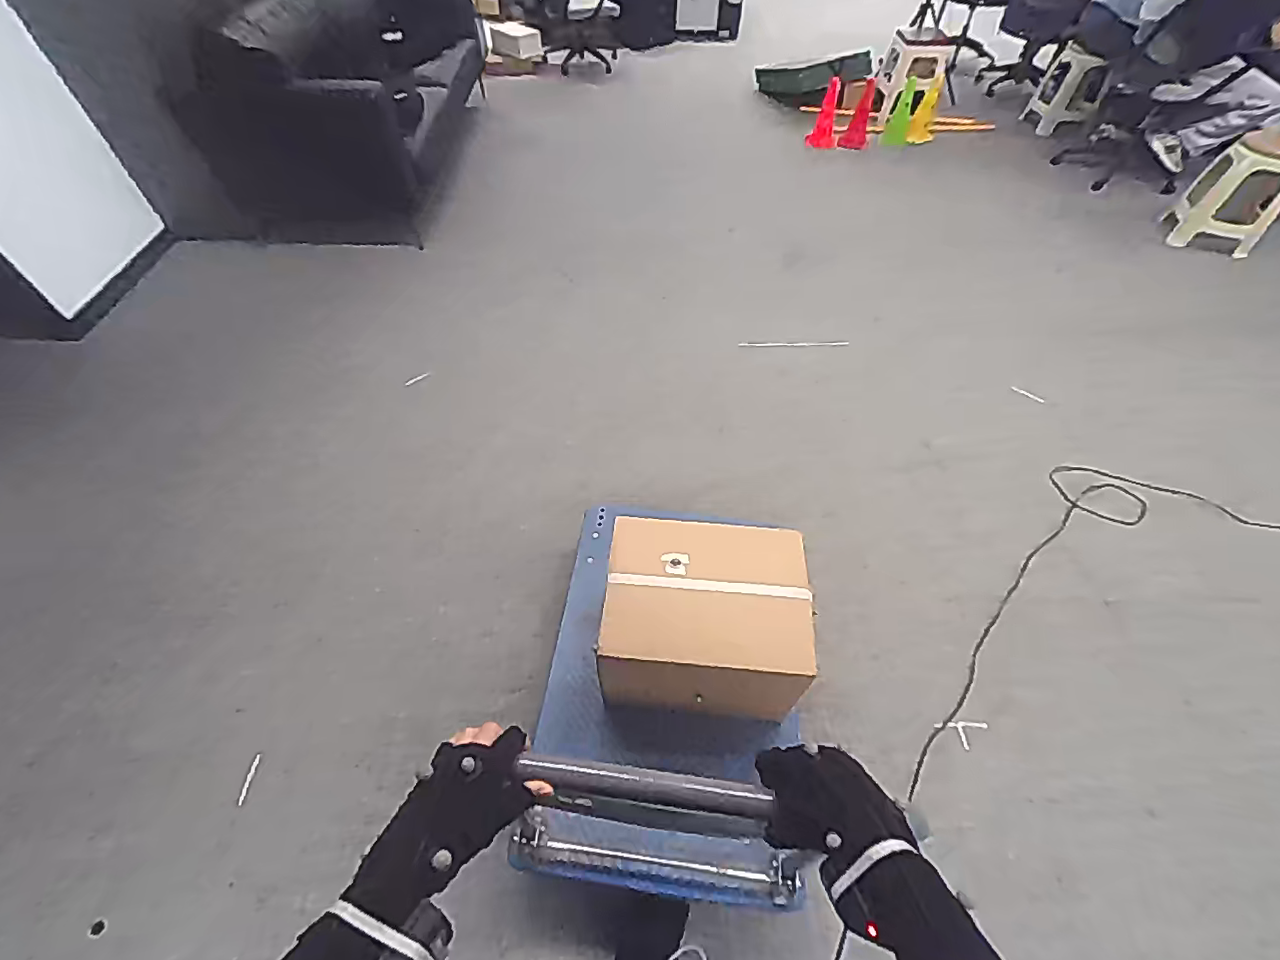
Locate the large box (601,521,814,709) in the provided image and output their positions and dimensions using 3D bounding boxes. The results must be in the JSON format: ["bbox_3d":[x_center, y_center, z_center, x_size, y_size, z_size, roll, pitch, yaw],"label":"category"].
[{"bbox_3d":[0.138,0.308,1.211,0.408,0.320,0.320,3,52,4],"label":"large box"}]
